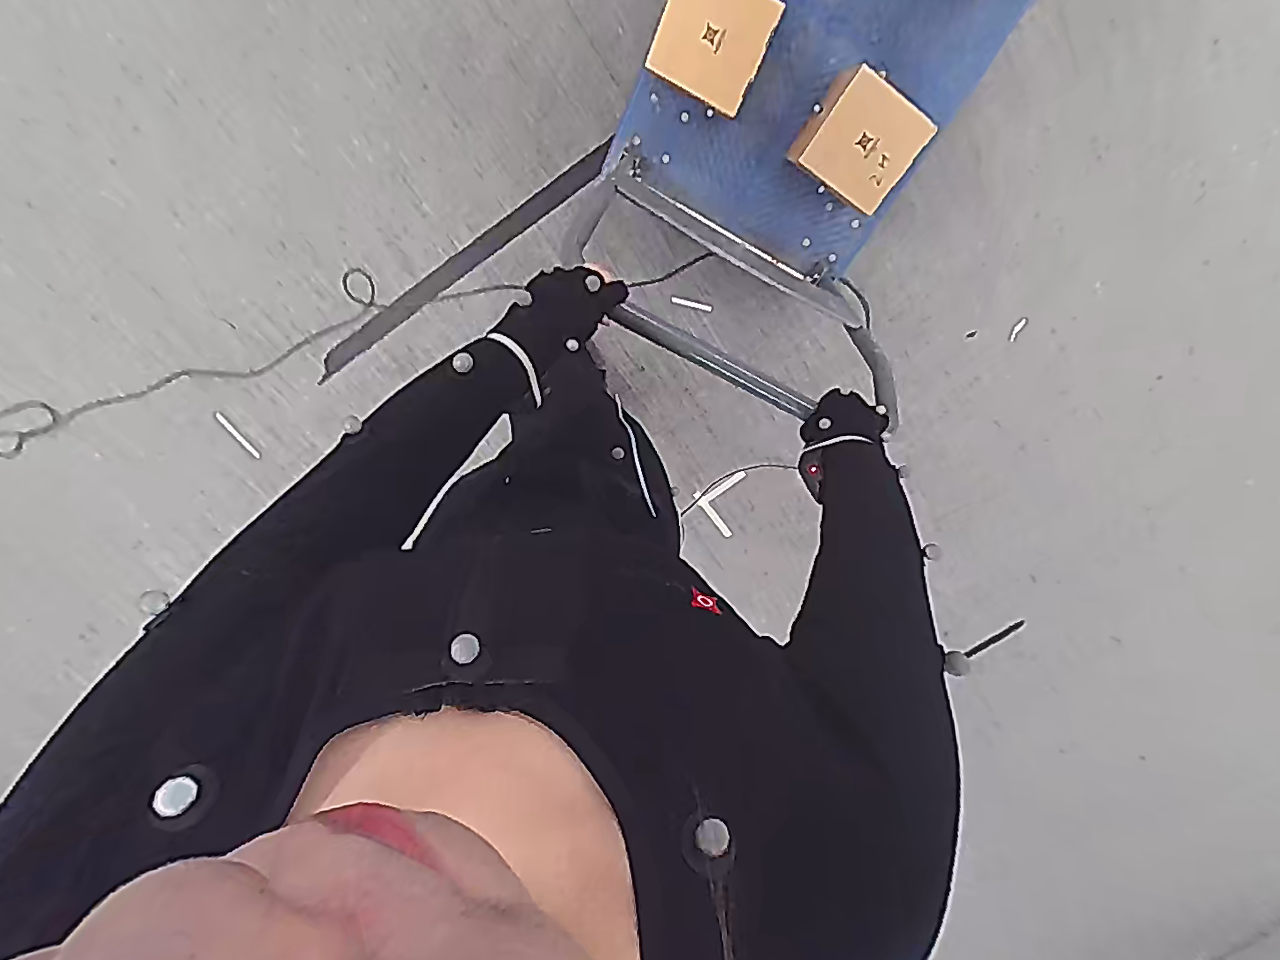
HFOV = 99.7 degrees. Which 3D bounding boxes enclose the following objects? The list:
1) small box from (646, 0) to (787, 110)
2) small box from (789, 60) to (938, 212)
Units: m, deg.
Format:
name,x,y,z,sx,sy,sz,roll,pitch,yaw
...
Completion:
name,x,y,z,sx,sy,sz,roll,pitch,yaw
small box,0.124,-0.771,0.941,0.179,0.176,0.168,22,122,-12
small box,0.403,-0.635,1.010,0.179,0.176,0.168,29,121,-14
